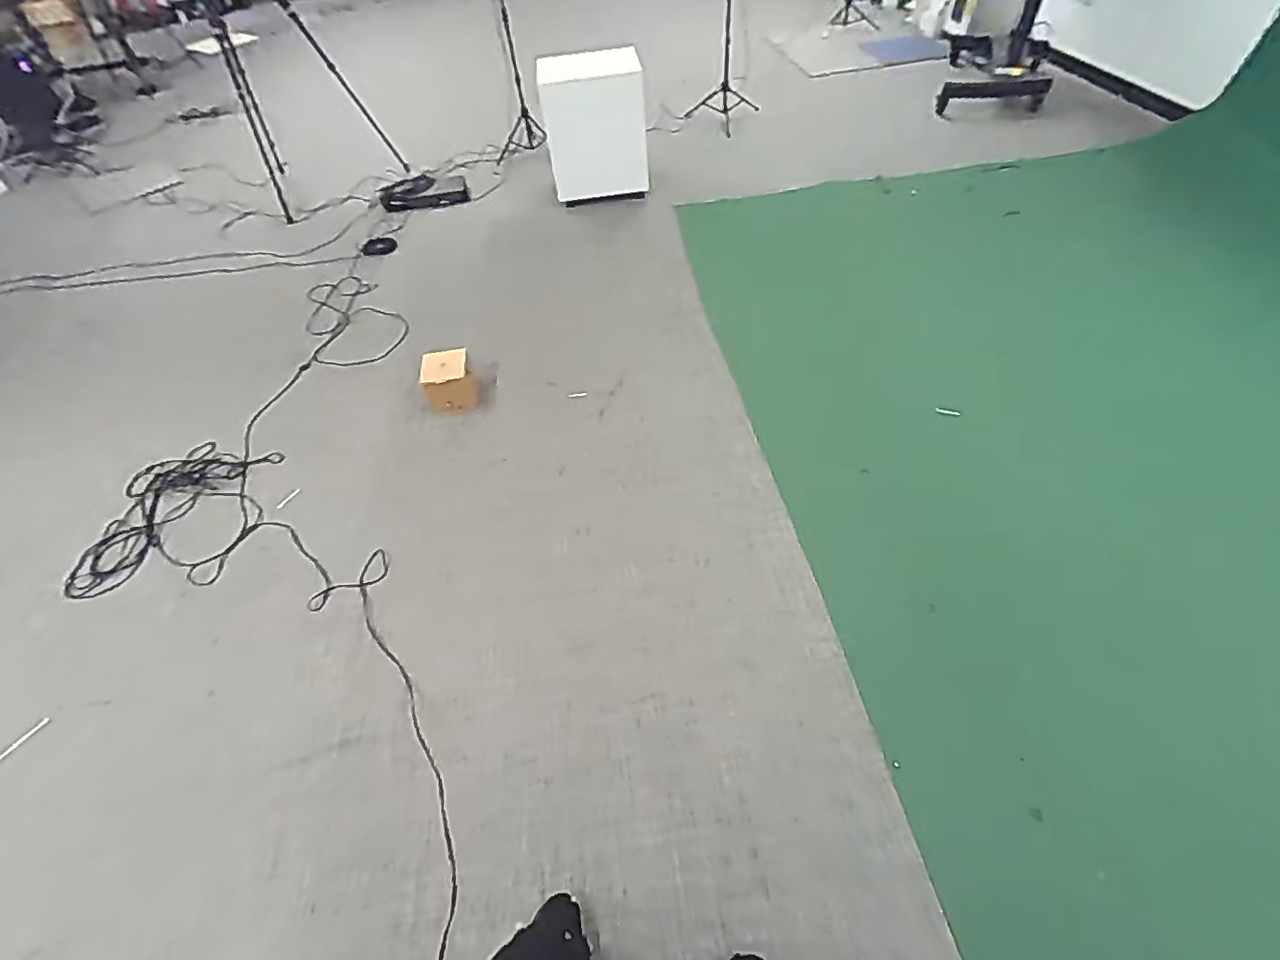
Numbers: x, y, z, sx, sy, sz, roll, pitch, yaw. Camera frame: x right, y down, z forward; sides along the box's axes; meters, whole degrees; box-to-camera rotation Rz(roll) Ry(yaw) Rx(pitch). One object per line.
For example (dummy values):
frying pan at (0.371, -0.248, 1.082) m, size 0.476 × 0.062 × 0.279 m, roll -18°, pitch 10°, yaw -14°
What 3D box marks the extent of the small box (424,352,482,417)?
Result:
small box at (-0.725, -0.374, 2.118) m, size 0.168 × 0.176 × 0.179 m, roll -10°, pitch 52°, yaw -2°
